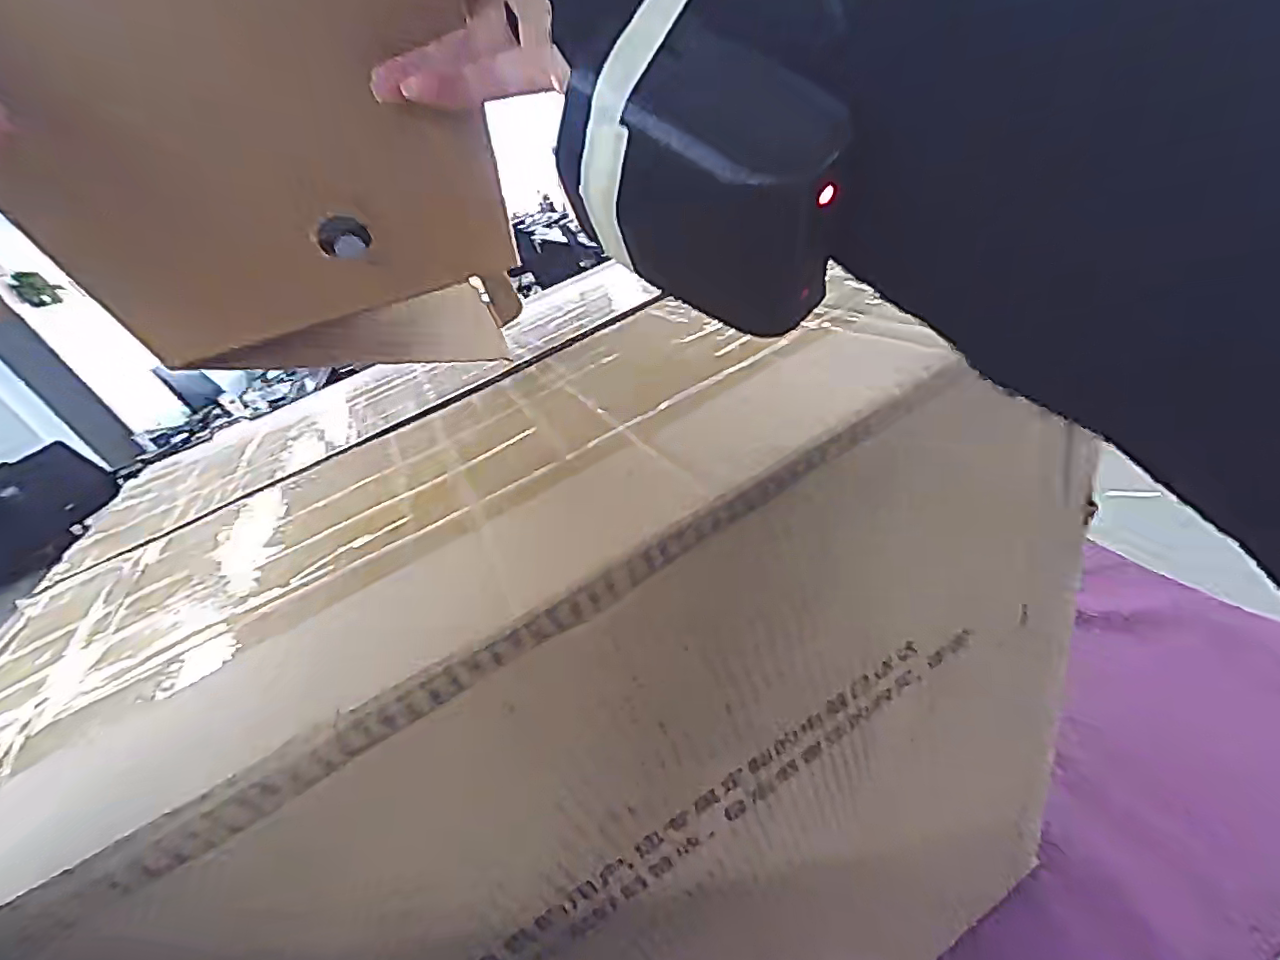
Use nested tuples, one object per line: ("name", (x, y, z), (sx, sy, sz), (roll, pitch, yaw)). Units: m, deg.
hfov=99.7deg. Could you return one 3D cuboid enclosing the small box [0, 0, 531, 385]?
("small box", (-0.171, -0.180, 0.249), (0.179, 0.176, 0.168), (-22, 62, -14))
